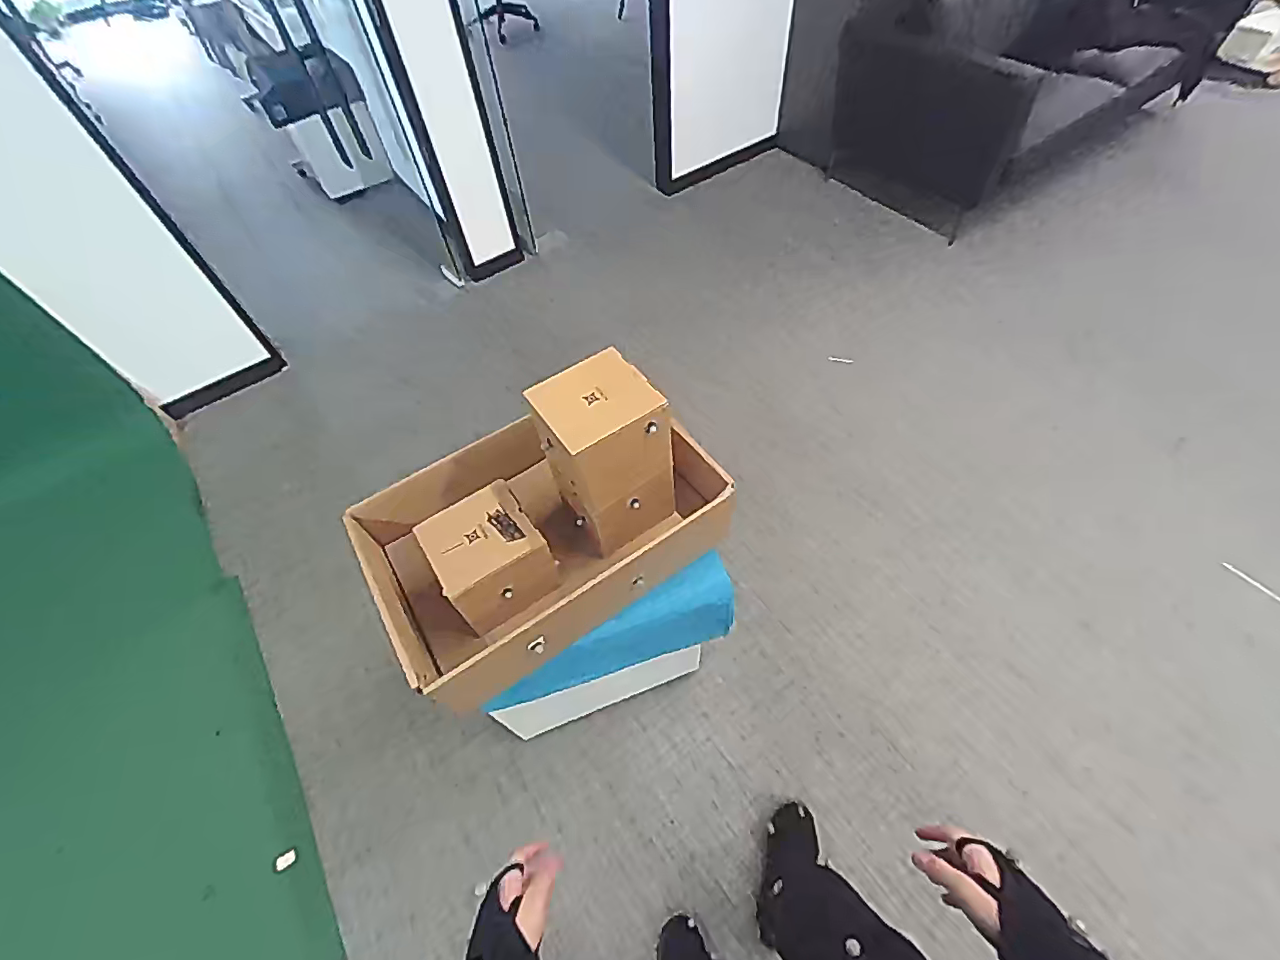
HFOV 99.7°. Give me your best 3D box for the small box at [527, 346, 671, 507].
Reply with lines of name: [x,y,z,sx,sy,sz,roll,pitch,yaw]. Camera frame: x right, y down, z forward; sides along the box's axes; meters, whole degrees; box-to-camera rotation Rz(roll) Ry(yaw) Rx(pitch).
small box: [-0.060,-0.085,0.908,0.179,0.176,0.168,-31,57,-16]
